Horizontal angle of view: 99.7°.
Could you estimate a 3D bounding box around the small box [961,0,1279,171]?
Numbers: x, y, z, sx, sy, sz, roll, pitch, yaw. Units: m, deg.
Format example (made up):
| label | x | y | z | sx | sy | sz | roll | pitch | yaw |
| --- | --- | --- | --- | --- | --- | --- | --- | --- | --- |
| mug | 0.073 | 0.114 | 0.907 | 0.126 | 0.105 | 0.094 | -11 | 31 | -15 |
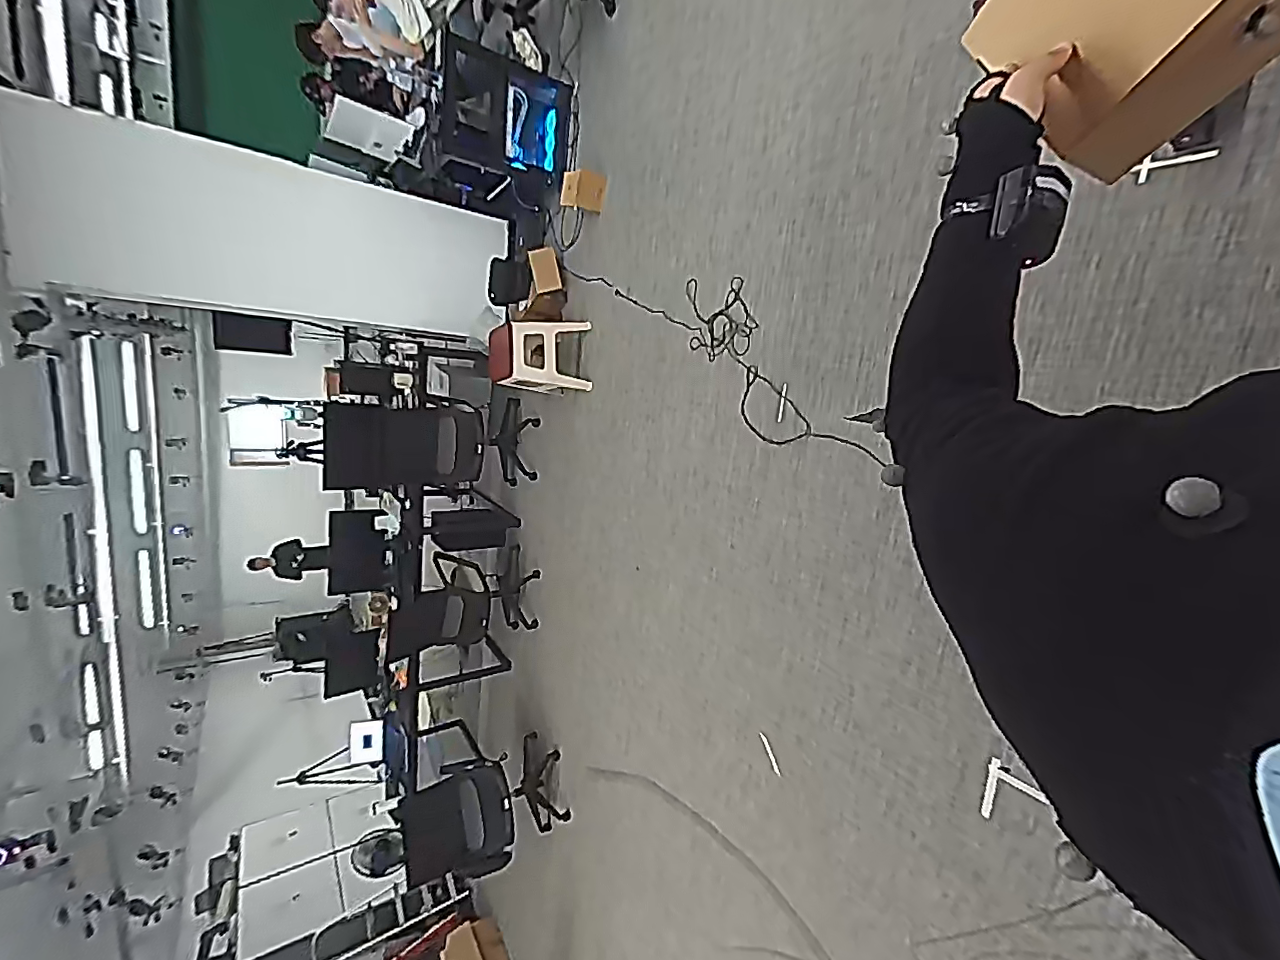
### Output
| label | x | y | z | sx | sy | sz | roll | pitch | yaw |
| --- | --- | --- | --- | --- | --- | --- | --- | --- | --- |
| small box | 0.444 | -0.417 | 0.485 | 0.179 | 0.176 | 0.168 | -44 | 65 | 50 |
